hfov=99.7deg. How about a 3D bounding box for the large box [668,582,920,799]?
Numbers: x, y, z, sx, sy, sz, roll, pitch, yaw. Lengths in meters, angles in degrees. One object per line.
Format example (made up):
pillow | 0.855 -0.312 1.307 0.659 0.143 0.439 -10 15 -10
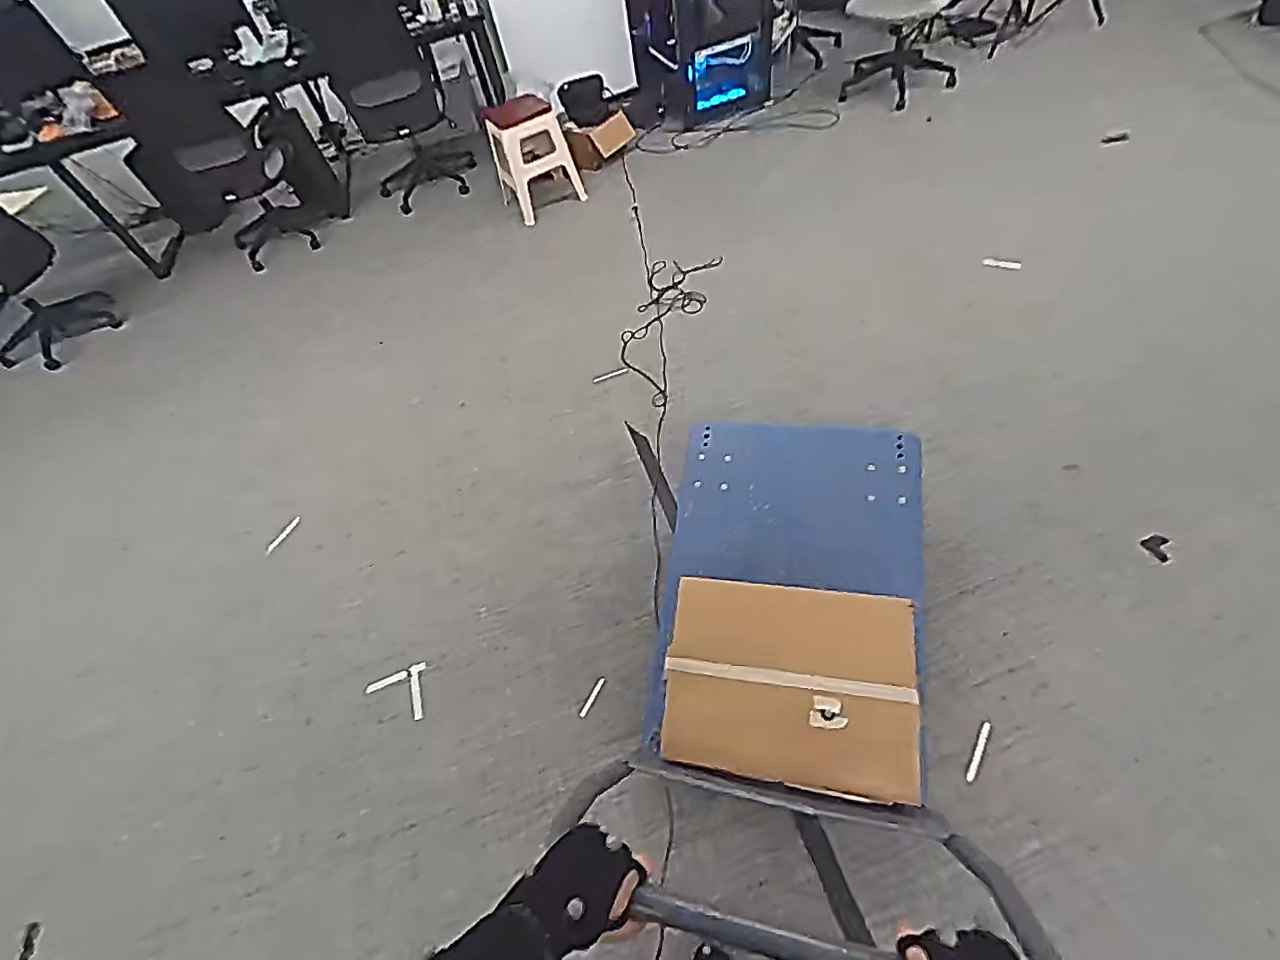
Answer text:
large box | 0.285 0.400 1.061 0.408 0.320 0.320 3 68 14
